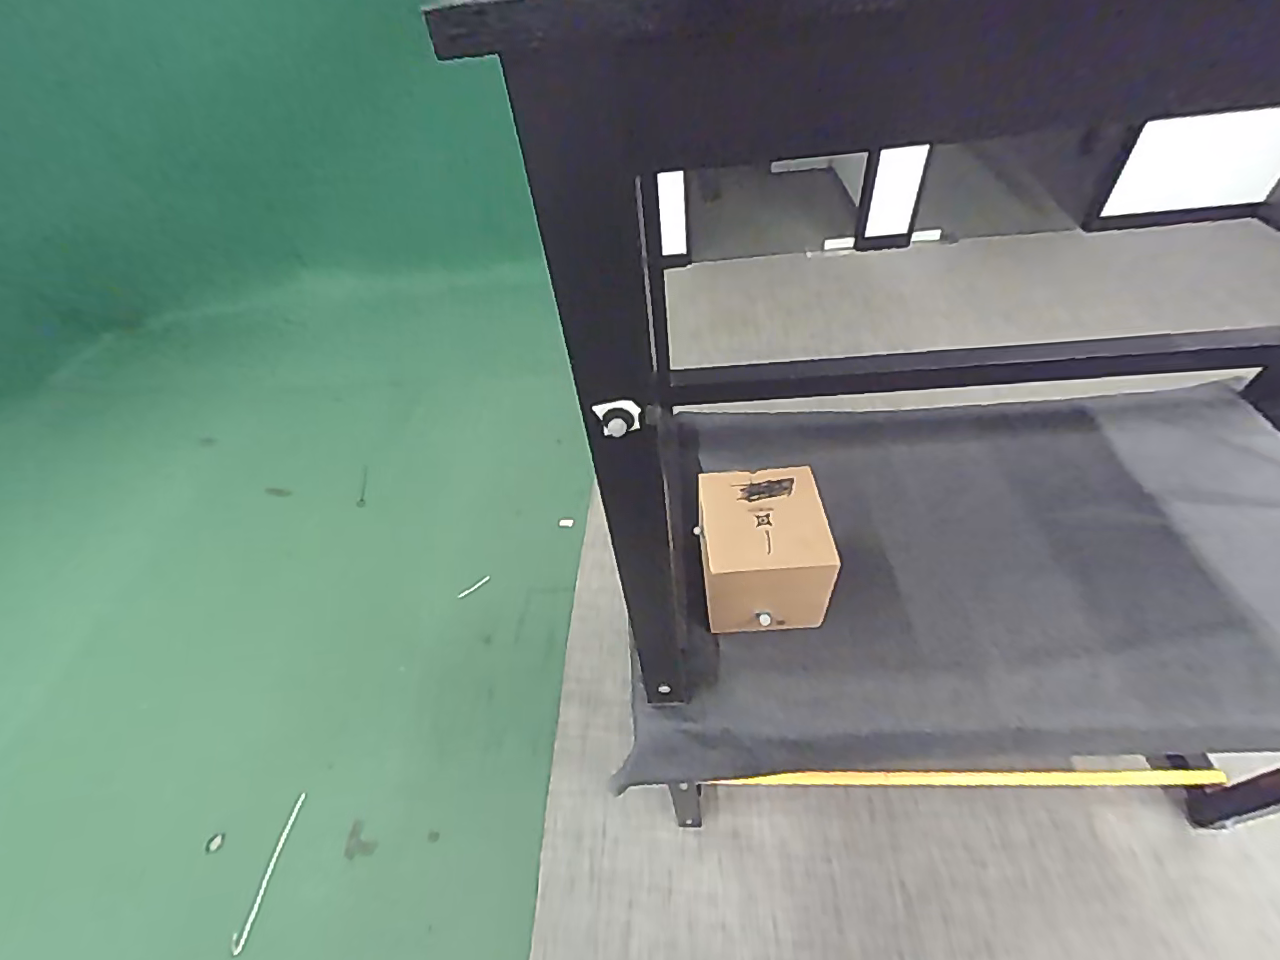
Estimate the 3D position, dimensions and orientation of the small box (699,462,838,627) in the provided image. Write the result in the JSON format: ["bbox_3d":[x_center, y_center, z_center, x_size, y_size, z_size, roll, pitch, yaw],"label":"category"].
[{"bbox_3d":[0.175,0.097,0.798,0.168,0.176,0.179,-5,47,4],"label":"small box"}]
